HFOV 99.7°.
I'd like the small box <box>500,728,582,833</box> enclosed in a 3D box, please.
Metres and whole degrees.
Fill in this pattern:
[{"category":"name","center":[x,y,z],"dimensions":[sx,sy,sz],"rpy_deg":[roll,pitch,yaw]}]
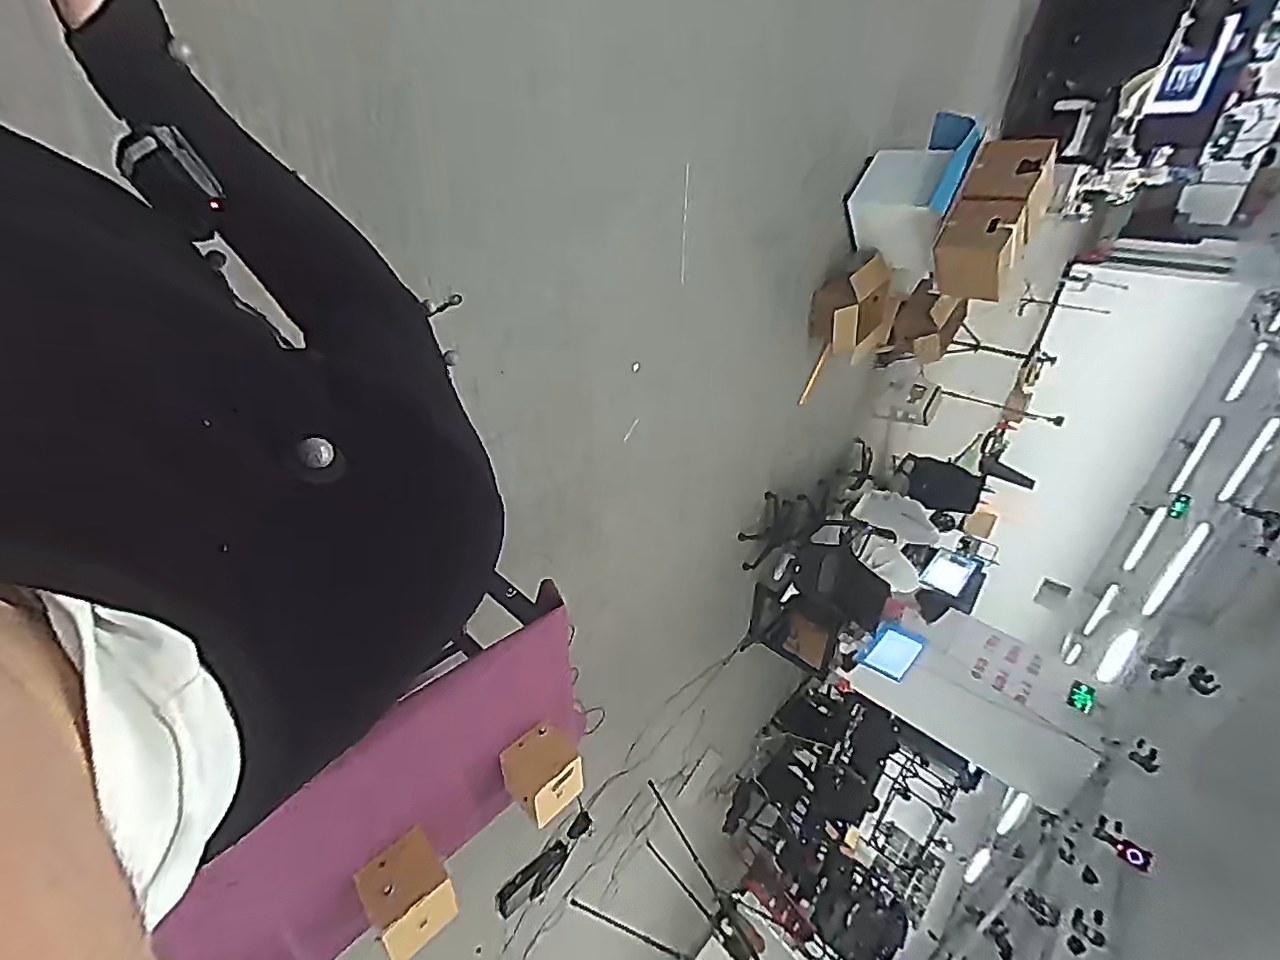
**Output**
[{"category":"small box","center":[-0.287,0.854,1.561],"dimensions":[0.168,0.176,0.179],"rpy_deg":[-27,131,-39]}]

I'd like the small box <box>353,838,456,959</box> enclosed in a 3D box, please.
[{"category":"small box","center":[-0.573,1.023,1.316],"dimensions":[0.168,0.176,0.179],"rpy_deg":[-24,129,-40]}]
